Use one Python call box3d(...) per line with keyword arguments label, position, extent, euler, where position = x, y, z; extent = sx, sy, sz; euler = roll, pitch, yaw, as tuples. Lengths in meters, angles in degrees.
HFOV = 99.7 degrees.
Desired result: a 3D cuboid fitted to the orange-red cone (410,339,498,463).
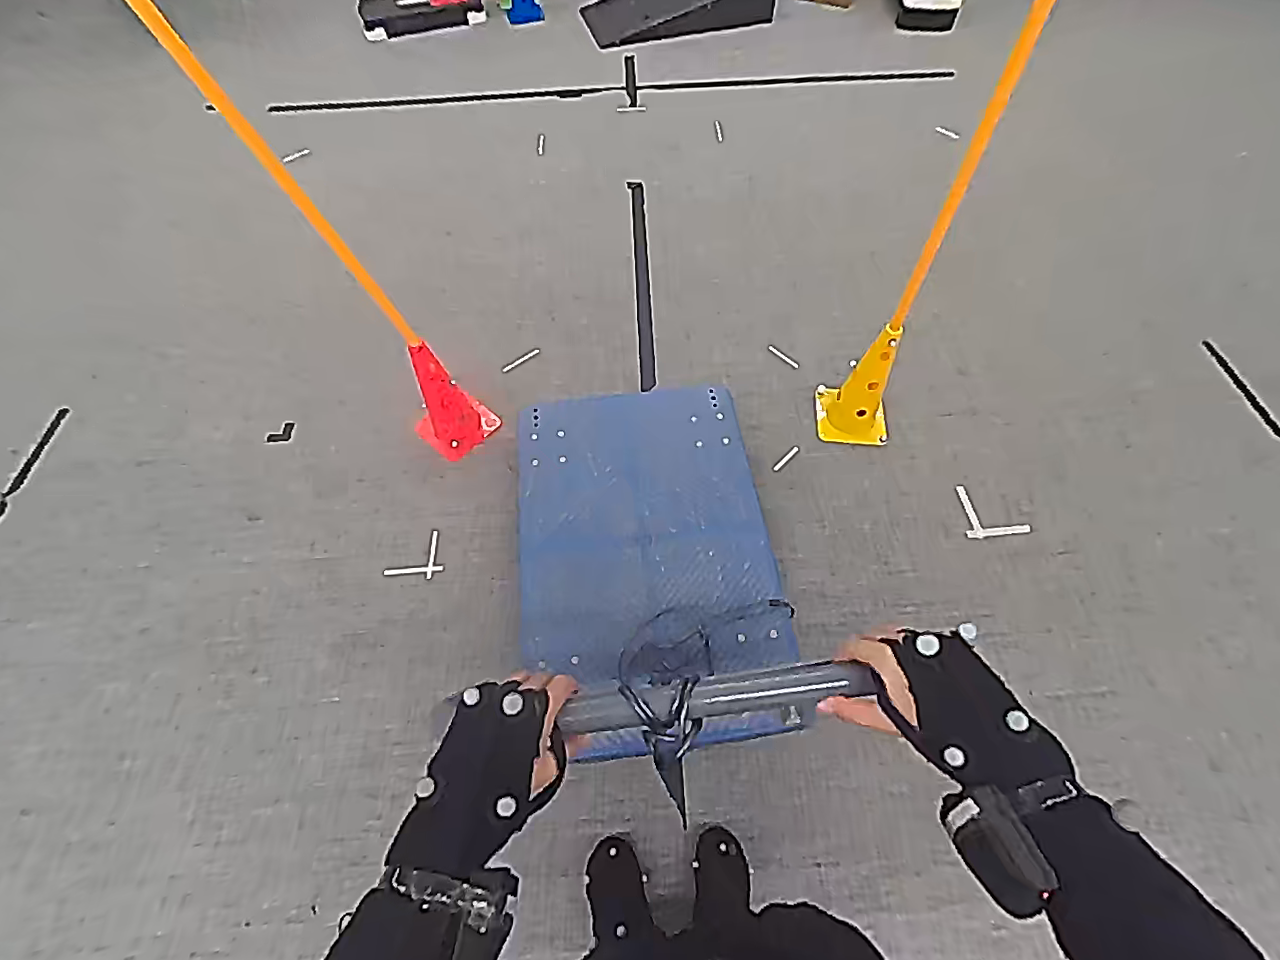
box3d(label="orange-red cone", position=(-0.553, -0.246, 1.488), extent=(0.198, 0.360, 0.199), euler=(38, 66, 20))
